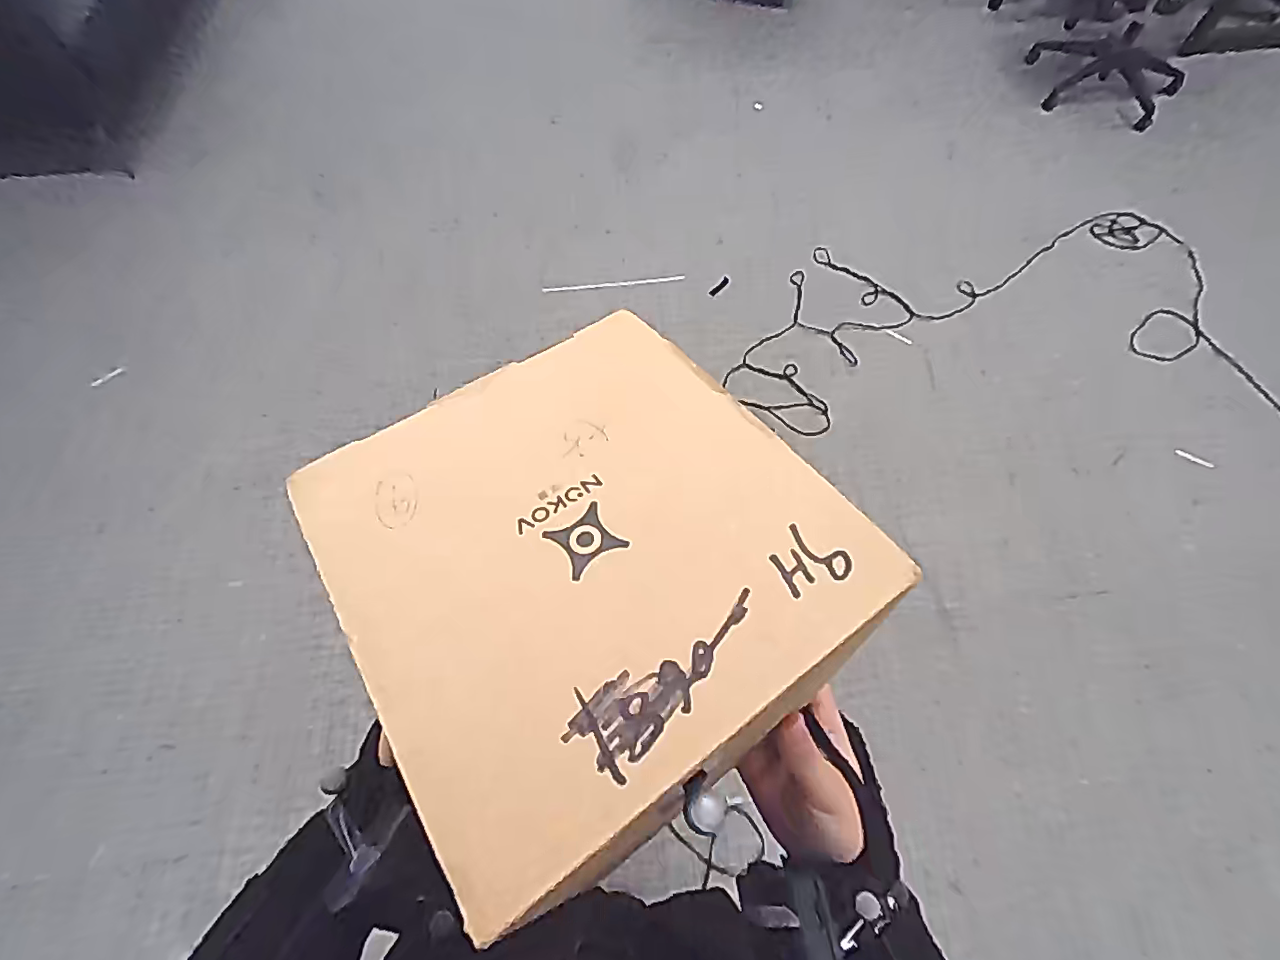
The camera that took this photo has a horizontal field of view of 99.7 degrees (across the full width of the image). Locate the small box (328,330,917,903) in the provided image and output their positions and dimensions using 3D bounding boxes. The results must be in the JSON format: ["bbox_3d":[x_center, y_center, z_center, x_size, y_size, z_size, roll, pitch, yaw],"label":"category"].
[{"bbox_3d":[-0.012,0.065,0.272,0.168,0.176,0.179,-33,59,-16],"label":"small box"}]
